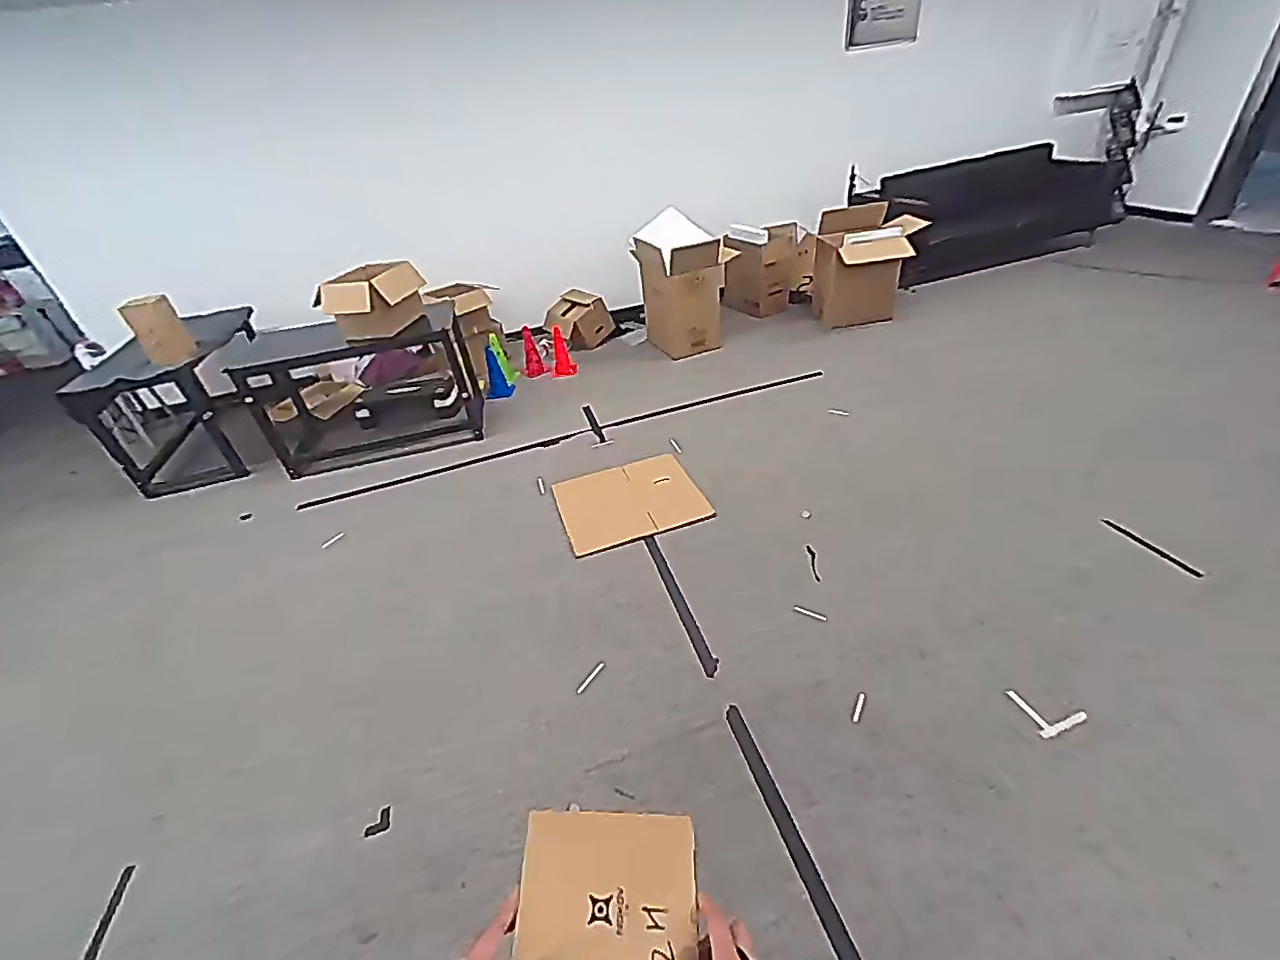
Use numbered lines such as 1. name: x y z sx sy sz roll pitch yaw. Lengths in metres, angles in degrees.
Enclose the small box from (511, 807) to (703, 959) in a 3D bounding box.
1. small box: -0.036 0.463 0.570 0.179 0.176 0.168 5 46 -4
